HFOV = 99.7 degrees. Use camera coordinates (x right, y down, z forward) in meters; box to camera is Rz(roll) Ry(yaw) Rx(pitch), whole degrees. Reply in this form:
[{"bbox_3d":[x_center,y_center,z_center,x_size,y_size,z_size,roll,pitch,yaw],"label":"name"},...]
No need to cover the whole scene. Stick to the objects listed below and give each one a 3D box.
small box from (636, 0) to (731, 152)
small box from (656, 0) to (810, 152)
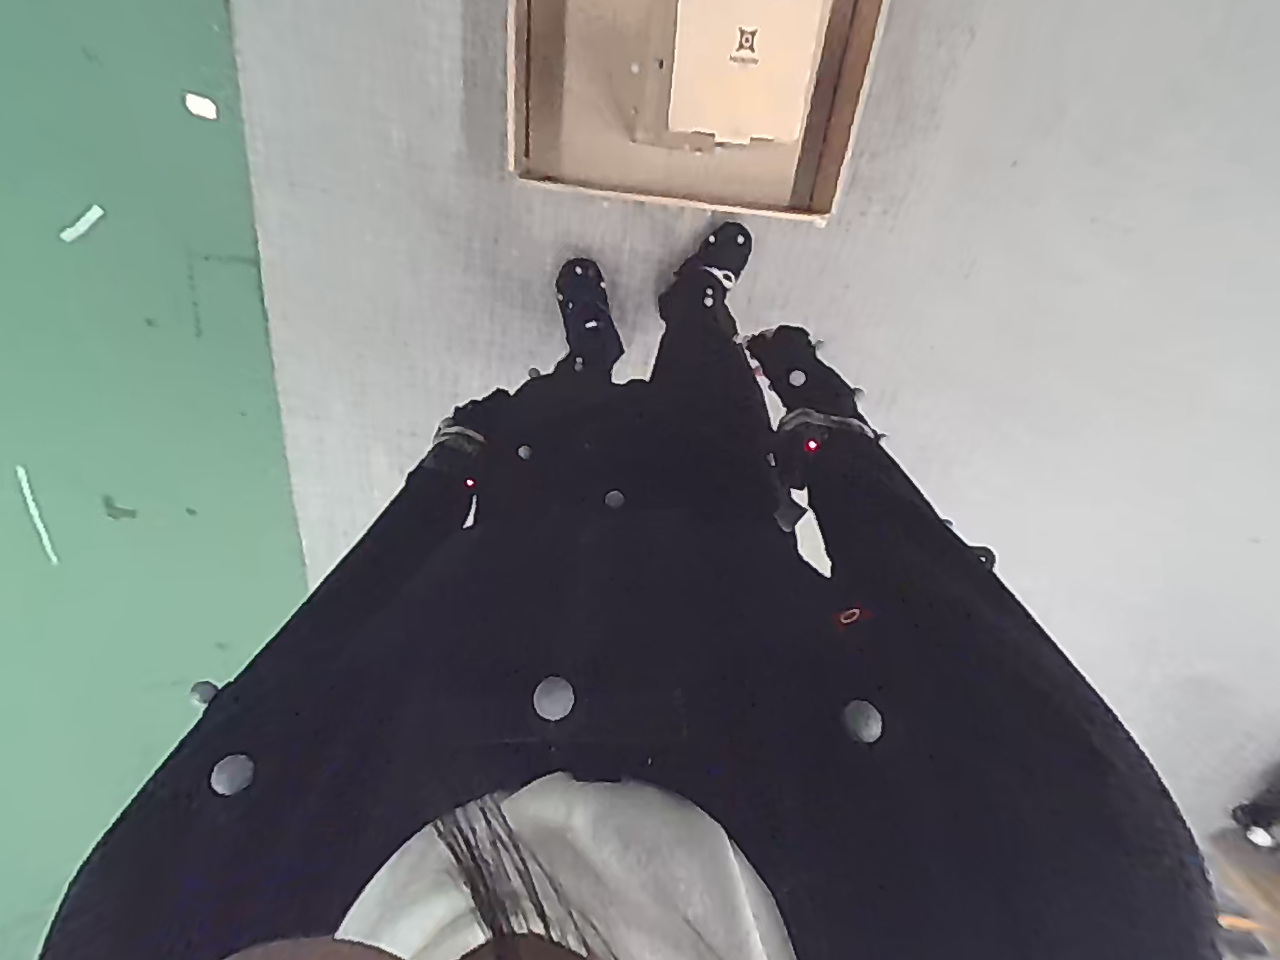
[{"bbox_3d":[0.092,-0.631,0.859,0.179,0.176,0.168,5,117,-6],"label":"small box"},{"bbox_3d":[0.111,-0.547,0.722,0.168,0.176,0.179,1,118,-4],"label":"small box"}]
